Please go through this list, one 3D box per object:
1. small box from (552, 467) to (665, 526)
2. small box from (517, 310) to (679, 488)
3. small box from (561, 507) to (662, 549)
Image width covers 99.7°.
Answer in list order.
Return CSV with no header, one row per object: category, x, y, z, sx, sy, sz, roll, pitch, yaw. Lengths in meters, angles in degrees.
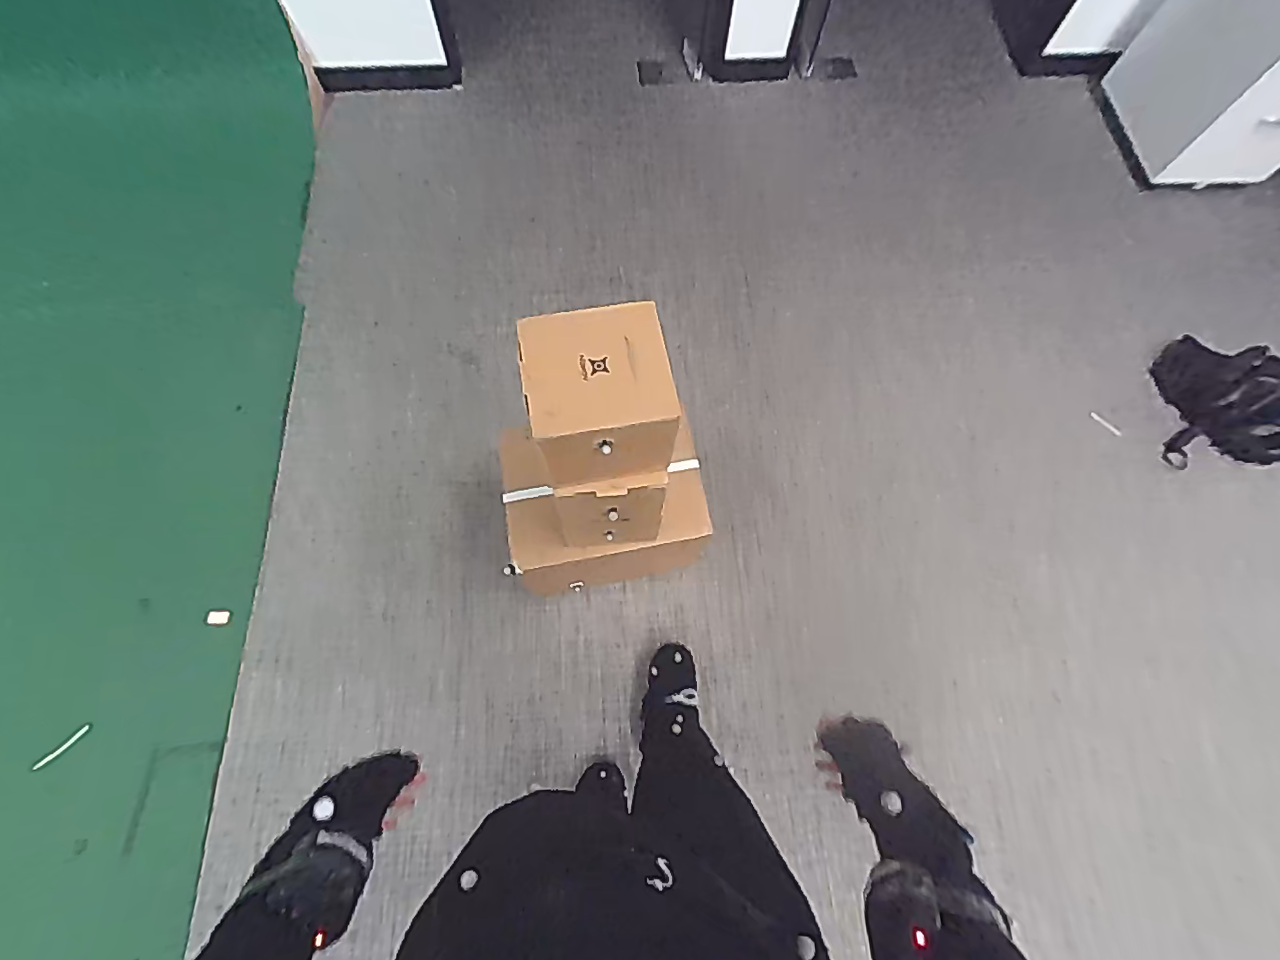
small box,-0.053,-0.029,0.874,0.168,0.176,0.179,-5,70,-4
small box,-0.055,-0.100,0.727,0.179,0.176,0.168,-10,71,-6
small box,-0.057,0.029,1.026,0.179,0.176,0.168,-5,69,-3
